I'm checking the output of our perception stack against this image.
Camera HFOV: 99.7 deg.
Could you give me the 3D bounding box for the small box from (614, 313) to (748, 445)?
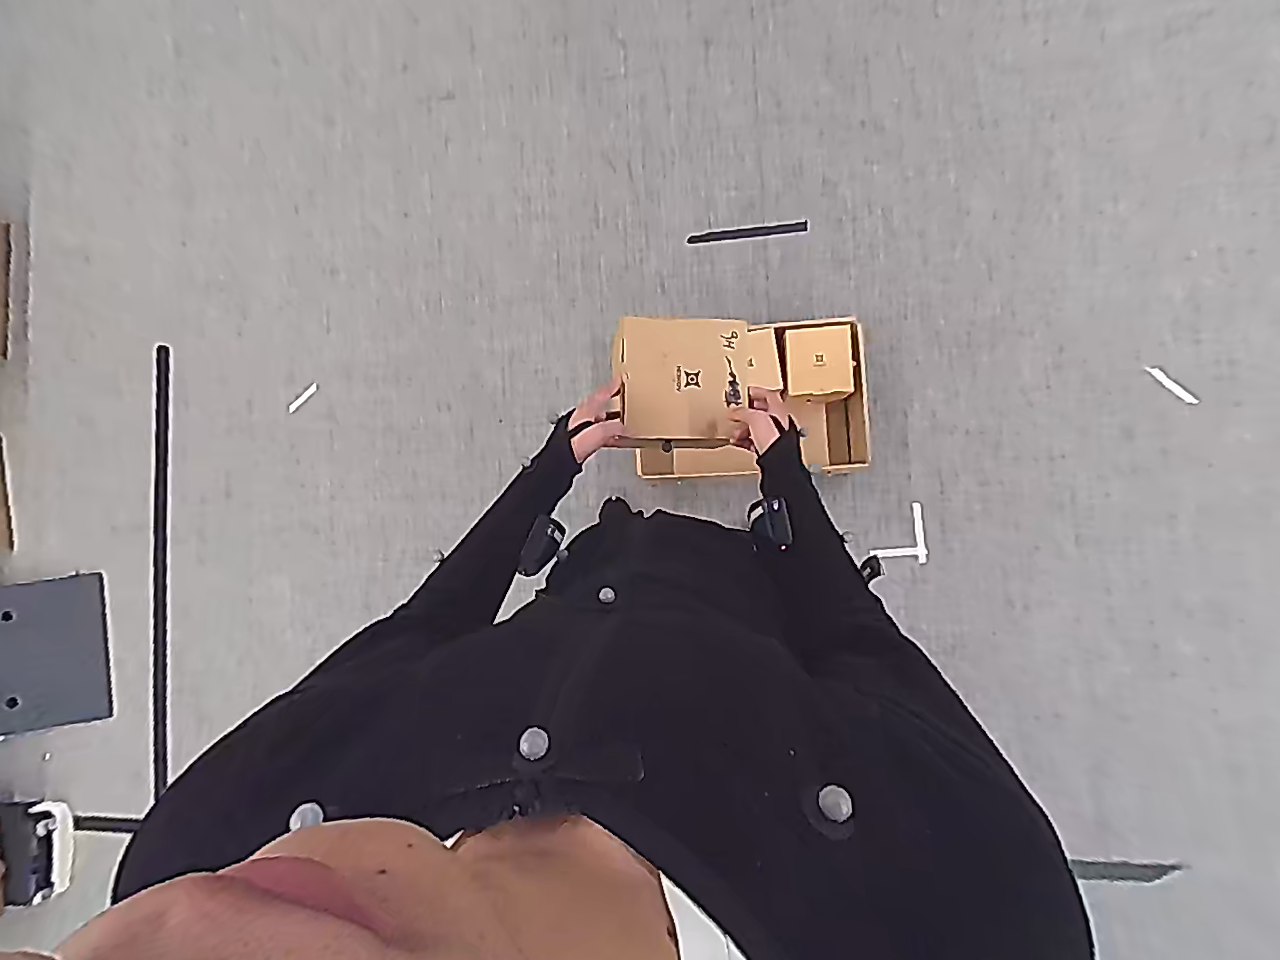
[{"bbox_3d":[0.051,-0.139,0.800,0.179,0.176,0.168,0,90,-6],"label":"small box"}]
